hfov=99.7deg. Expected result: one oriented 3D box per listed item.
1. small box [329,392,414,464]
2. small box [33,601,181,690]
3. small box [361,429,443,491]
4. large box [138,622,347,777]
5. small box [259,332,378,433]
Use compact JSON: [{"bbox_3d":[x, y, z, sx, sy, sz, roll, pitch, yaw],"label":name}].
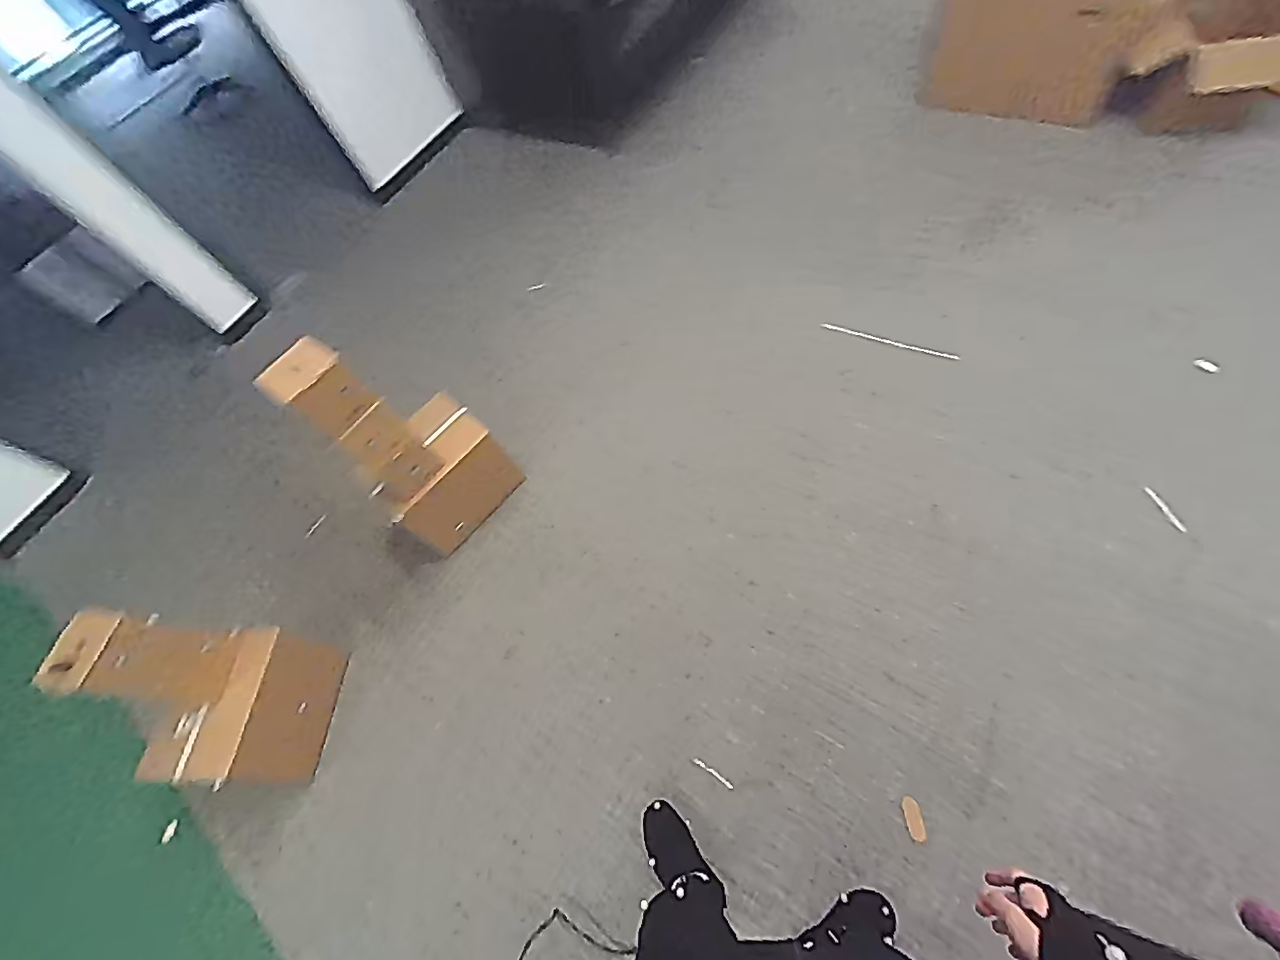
[{"bbox_3d":[-0.786,-0.168,1.543,0.179,0.176,0.168,32,74,29],"label":"small box"},{"bbox_3d":[-1.312,0.416,1.347,0.168,0.176,0.179,1,61,16],"label":"small box"},{"bbox_3d":[-0.752,-0.088,1.681,0.179,0.176,0.168,33,73,27],"label":"small box"},{"bbox_3d":[-1.174,0.673,1.648,0.320,0.320,0.408,-5,61,13],"label":"large box"},{"bbox_3d":[-0.828,-0.248,1.408,0.179,0.176,0.168,31,72,29],"label":"small box"}]
